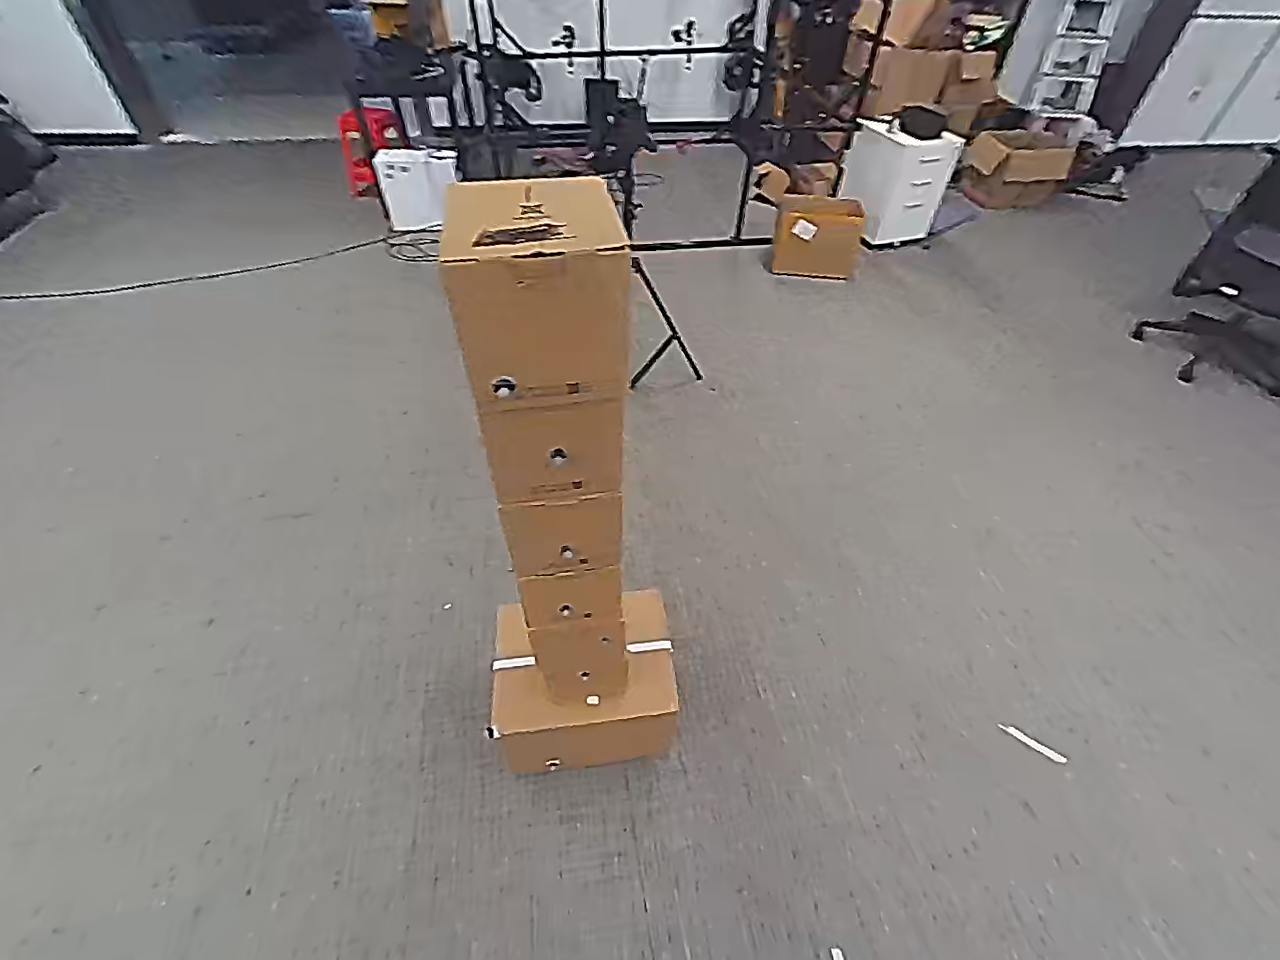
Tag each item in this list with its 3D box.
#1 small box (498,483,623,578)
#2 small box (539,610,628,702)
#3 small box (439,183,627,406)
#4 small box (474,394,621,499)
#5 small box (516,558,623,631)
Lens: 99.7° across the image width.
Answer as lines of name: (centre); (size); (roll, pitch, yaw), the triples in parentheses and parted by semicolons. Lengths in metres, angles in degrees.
small box: (-0.121, 0.025, 0.825); (0.168, 0.176, 0.179); (-8, 49, -8)
small box: (-0.123, 0.366, 1.178); (0.179, 0.176, 0.168); (-6, 49, -9)
small box: (-0.107, -0.193, 0.579); (0.168, 0.176, 0.179); (-8, 49, -9)
small box: (-0.117, -0.089, 0.707); (0.168, 0.176, 0.179); (-7, 49, -9)
small box: (-0.124, 0.138, 0.944); (0.168, 0.176, 0.179); (-6, 49, -8)
